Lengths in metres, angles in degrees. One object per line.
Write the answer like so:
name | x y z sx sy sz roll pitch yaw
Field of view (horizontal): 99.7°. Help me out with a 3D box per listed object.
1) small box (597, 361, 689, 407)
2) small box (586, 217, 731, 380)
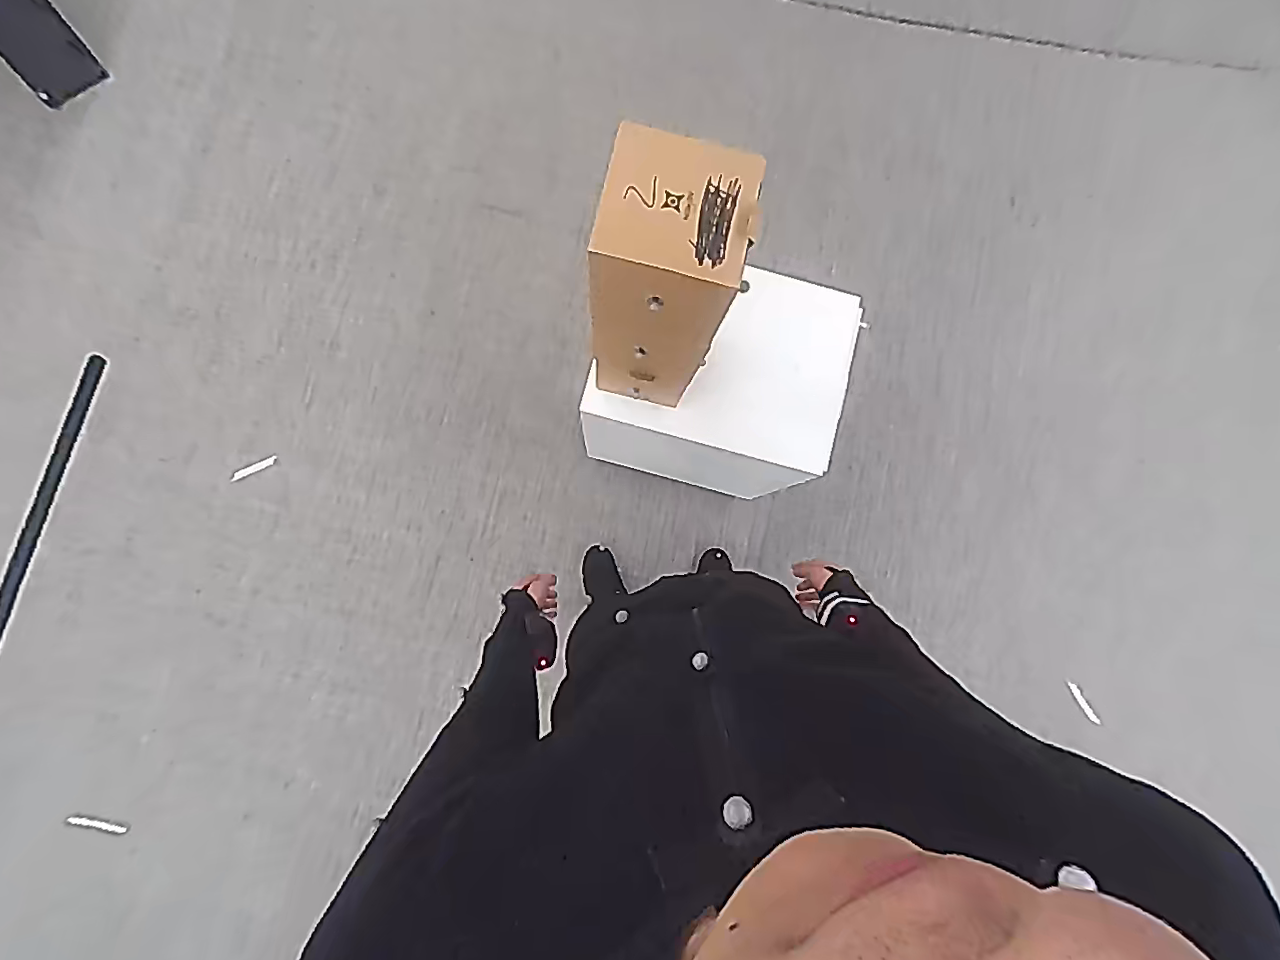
small box | 0.015 -0.255 1.005 0.168 0.176 0.179 14 83 -2
small box | 0.023 -0.268 0.841 0.179 0.176 0.168 14 82 -2
